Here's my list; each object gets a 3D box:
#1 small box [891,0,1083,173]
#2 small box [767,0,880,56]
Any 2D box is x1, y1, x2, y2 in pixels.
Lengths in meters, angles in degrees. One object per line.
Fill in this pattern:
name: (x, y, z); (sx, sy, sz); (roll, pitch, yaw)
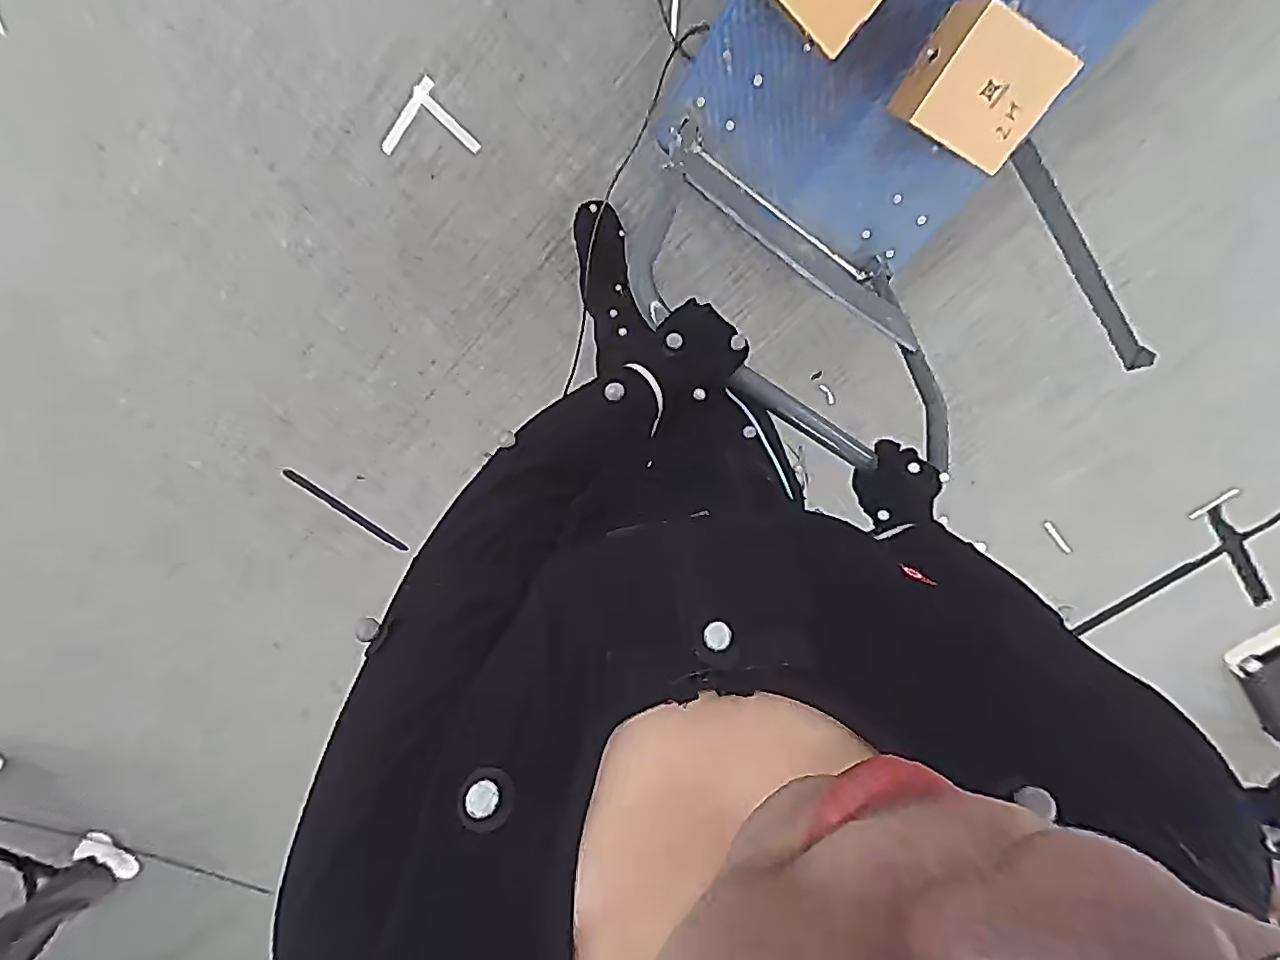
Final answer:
small box: (0.543, -0.636, 0.878); (0.179, 0.176, 0.168); (24, 129, -11)
small box: (0.279, -0.776, 0.802); (0.179, 0.176, 0.168); (32, 127, -20)
